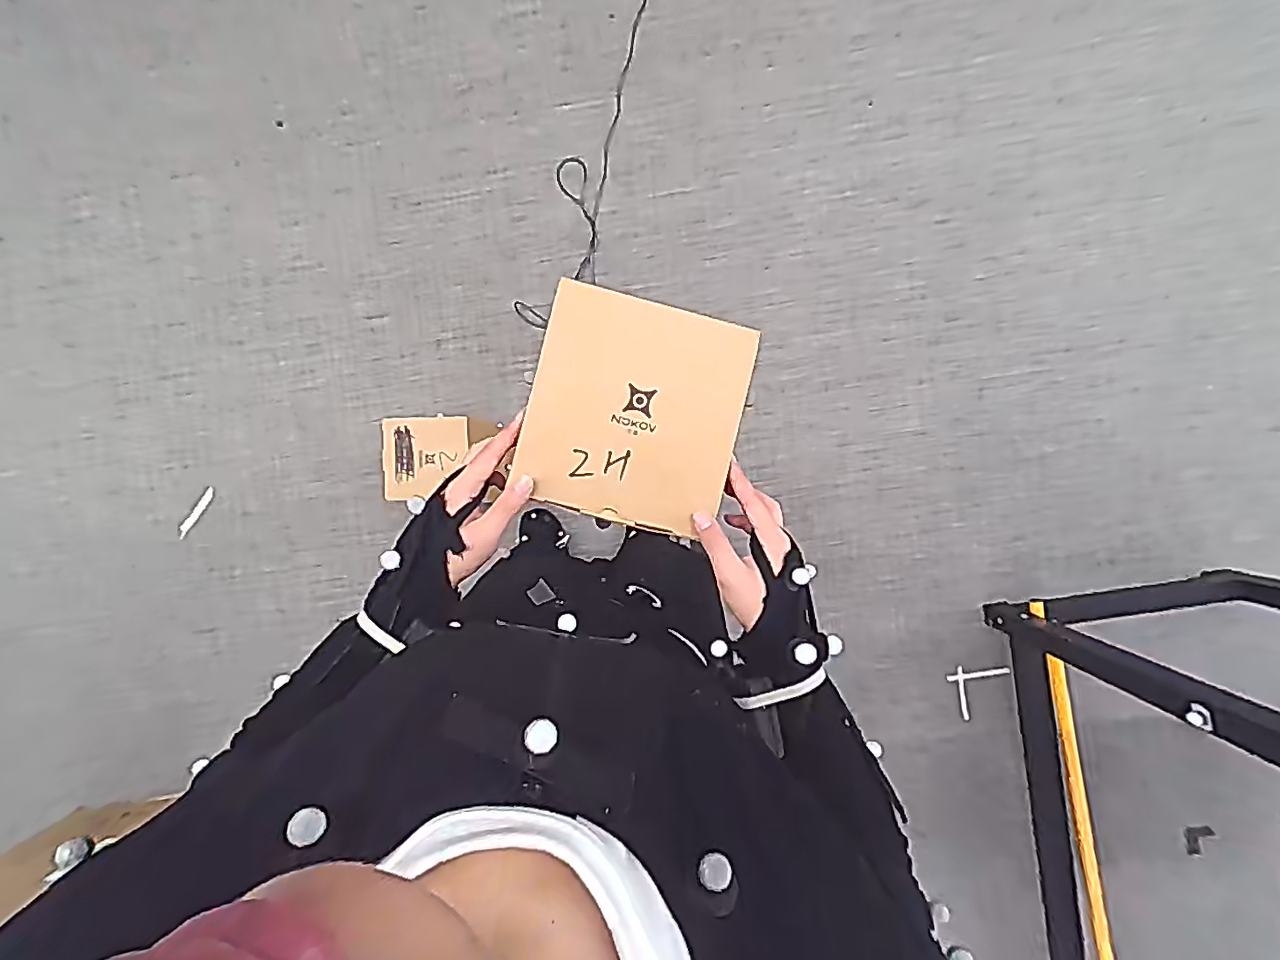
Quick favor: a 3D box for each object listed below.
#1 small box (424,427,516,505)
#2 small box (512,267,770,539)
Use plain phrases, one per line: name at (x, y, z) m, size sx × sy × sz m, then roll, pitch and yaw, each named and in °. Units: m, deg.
small box at (-0.400, -0.032, 1.294) m, size 0.168 × 0.176 × 0.179 m, roll -1°, pitch 92°, yaw 3°
small box at (-0.003, -0.056, 0.491) m, size 0.168 × 0.176 × 0.179 m, roll 15°, pitch 87°, yaw -3°
